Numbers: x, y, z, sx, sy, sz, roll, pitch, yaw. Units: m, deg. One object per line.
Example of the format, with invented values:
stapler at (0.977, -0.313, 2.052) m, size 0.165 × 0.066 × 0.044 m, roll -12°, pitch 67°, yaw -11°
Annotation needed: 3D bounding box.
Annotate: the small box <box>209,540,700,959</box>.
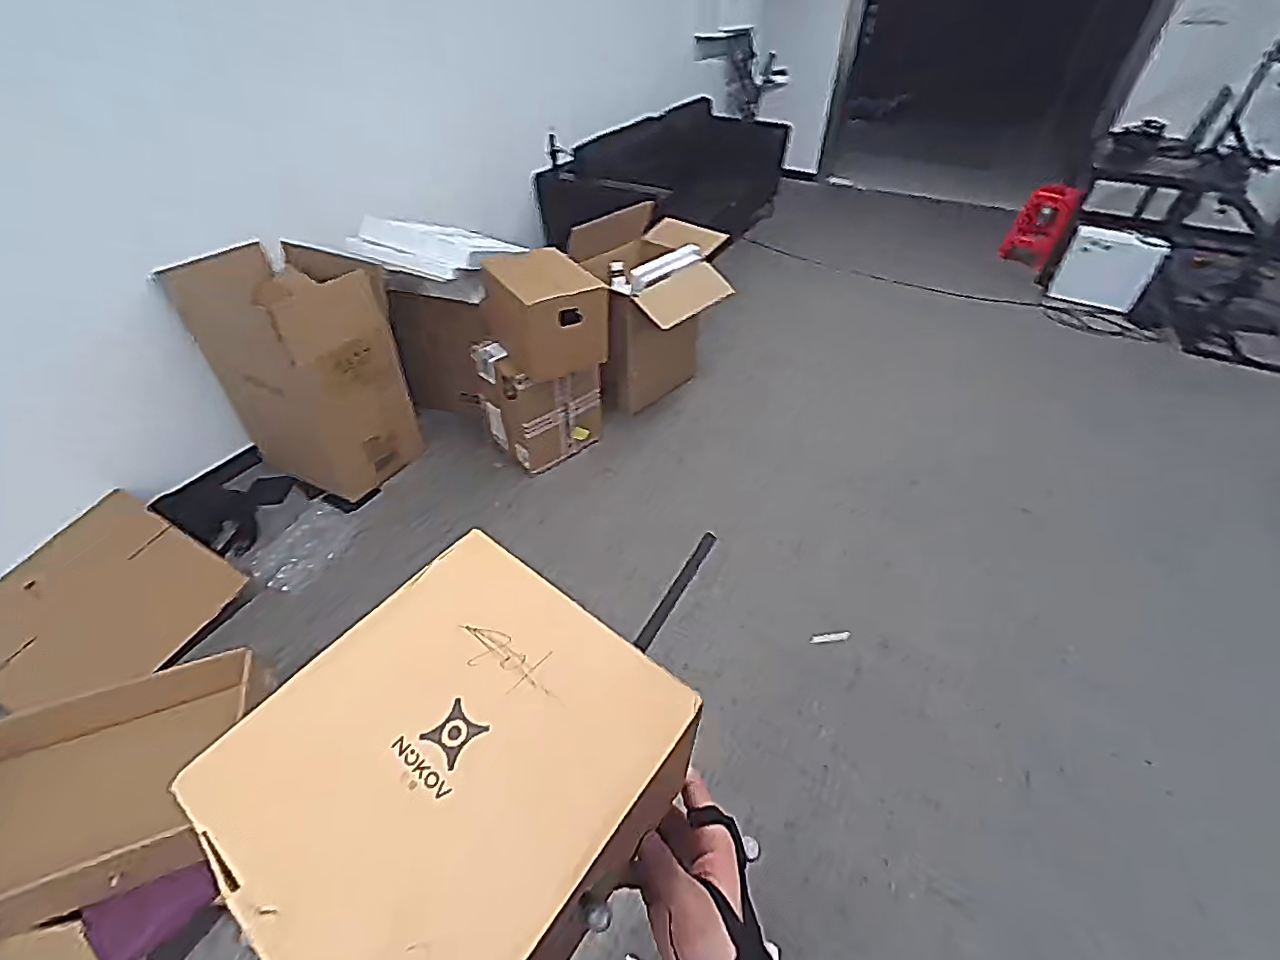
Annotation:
small box at (-0.082, 0.177, 0.317) m, size 0.168 × 0.176 × 0.179 m, roll 30°, pitch 54°, yaw 23°
